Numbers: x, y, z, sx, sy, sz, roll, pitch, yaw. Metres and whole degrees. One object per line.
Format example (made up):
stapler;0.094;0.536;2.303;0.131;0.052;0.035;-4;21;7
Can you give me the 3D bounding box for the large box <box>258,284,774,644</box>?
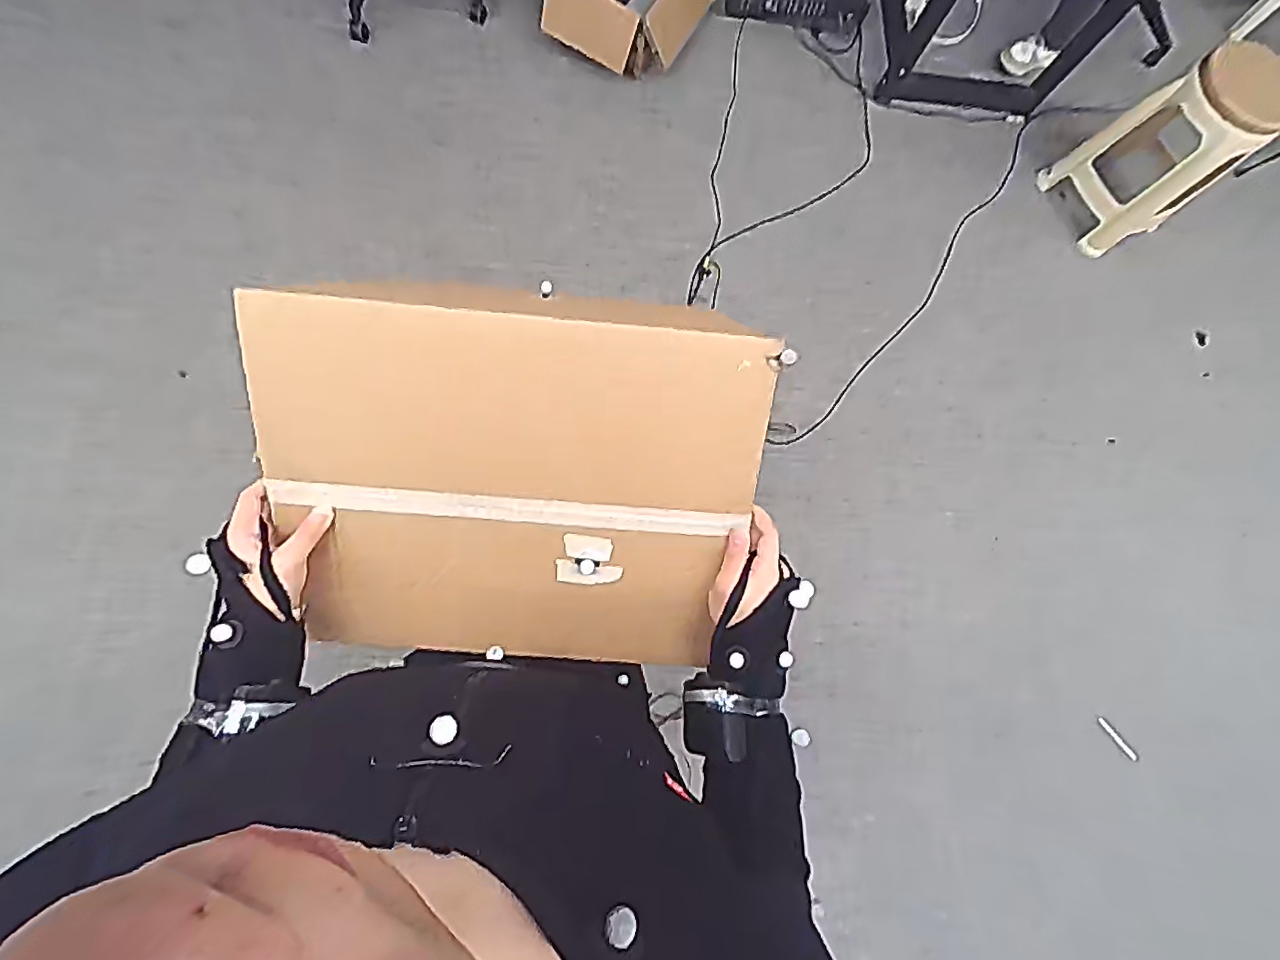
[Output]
large box;-0.108;-0.043;0.609;0.408;0.320;0.320;4;113;-4
